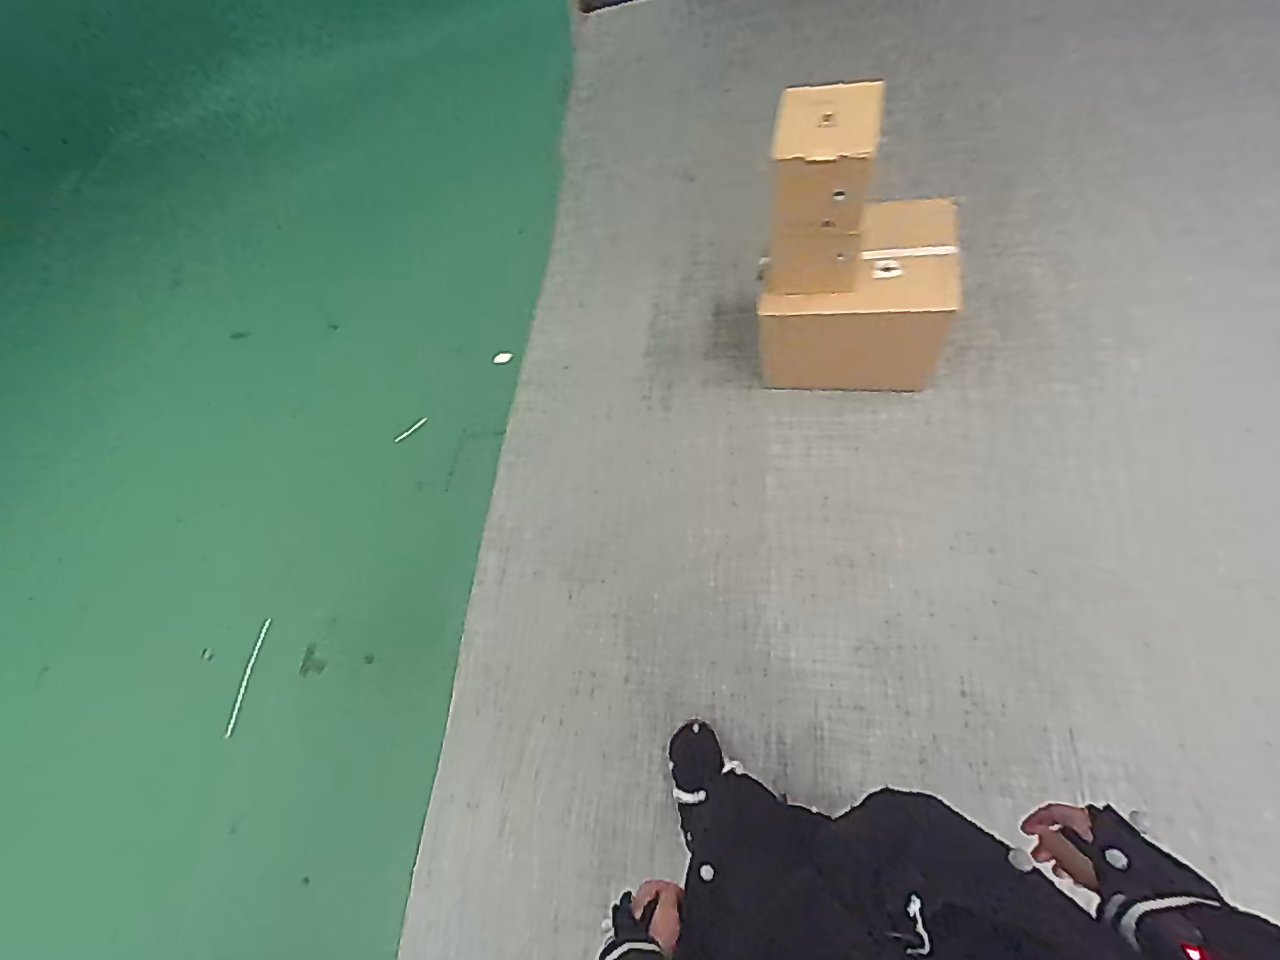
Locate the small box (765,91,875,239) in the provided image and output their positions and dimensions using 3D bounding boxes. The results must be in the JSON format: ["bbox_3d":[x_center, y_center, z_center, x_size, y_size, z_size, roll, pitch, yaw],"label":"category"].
[{"bbox_3d":[0.324,-0.567,0.992,0.168,0.176,0.179,7,68,15],"label":"small box"}]

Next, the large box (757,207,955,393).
[{"bbox_3d":[0.503,-0.424,1.338,0.408,0.320,0.320,3,69,15],"label":"large box"}]
